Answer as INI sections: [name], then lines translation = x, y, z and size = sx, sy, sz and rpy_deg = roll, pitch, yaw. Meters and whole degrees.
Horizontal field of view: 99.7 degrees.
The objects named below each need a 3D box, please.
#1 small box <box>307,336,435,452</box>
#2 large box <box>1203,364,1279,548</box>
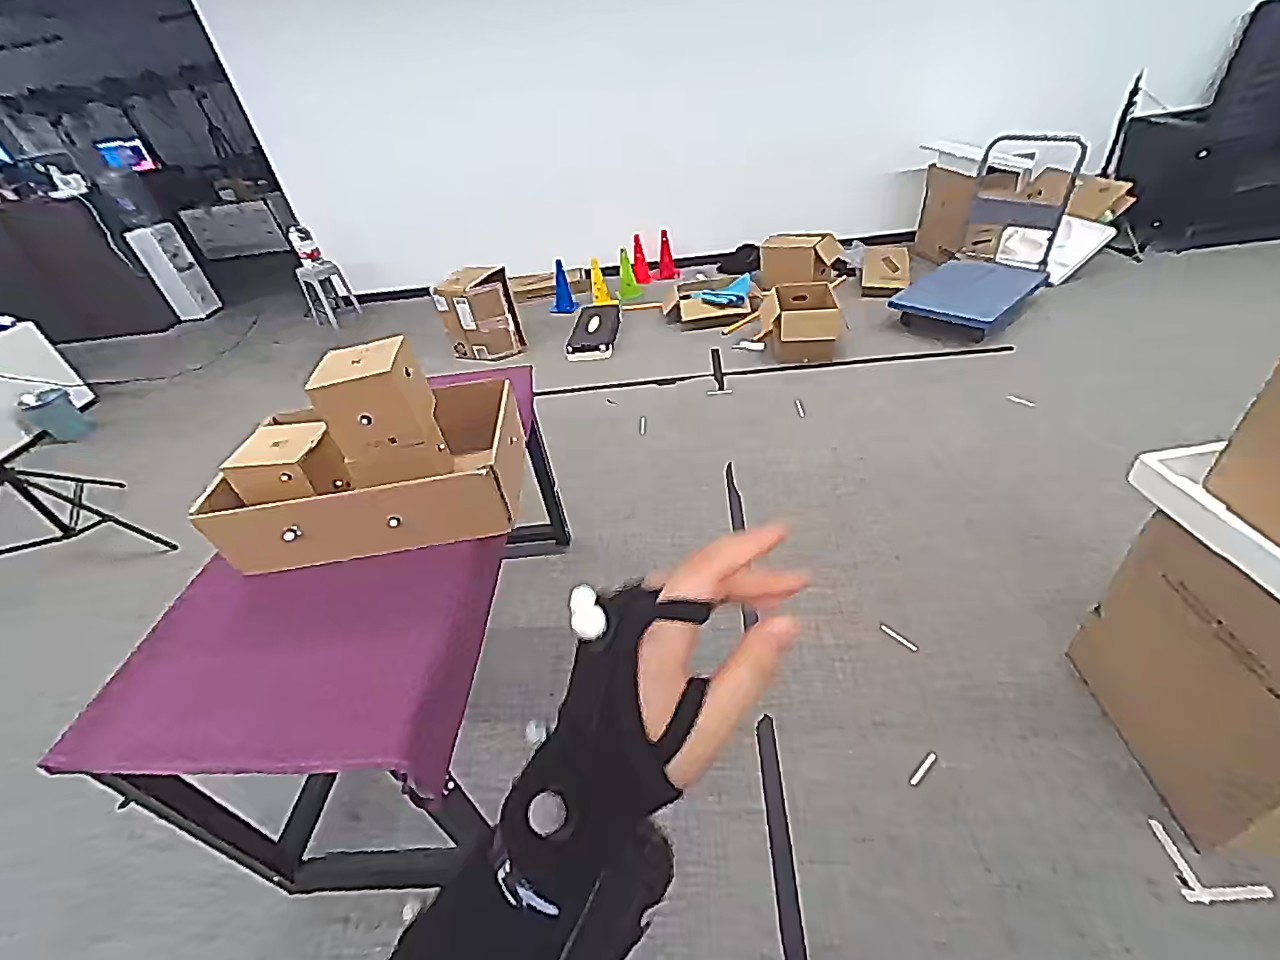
[small box]
translation = -0.543, -0.173, 1.123
size = 0.168, 0.176, 0.179
rpy_deg = -13, 38, -3
[large box]
translation = 1.332, 0.006, 0.902
size = 0.320, 0.320, 0.408
rpy_deg = -6, 37, 2
